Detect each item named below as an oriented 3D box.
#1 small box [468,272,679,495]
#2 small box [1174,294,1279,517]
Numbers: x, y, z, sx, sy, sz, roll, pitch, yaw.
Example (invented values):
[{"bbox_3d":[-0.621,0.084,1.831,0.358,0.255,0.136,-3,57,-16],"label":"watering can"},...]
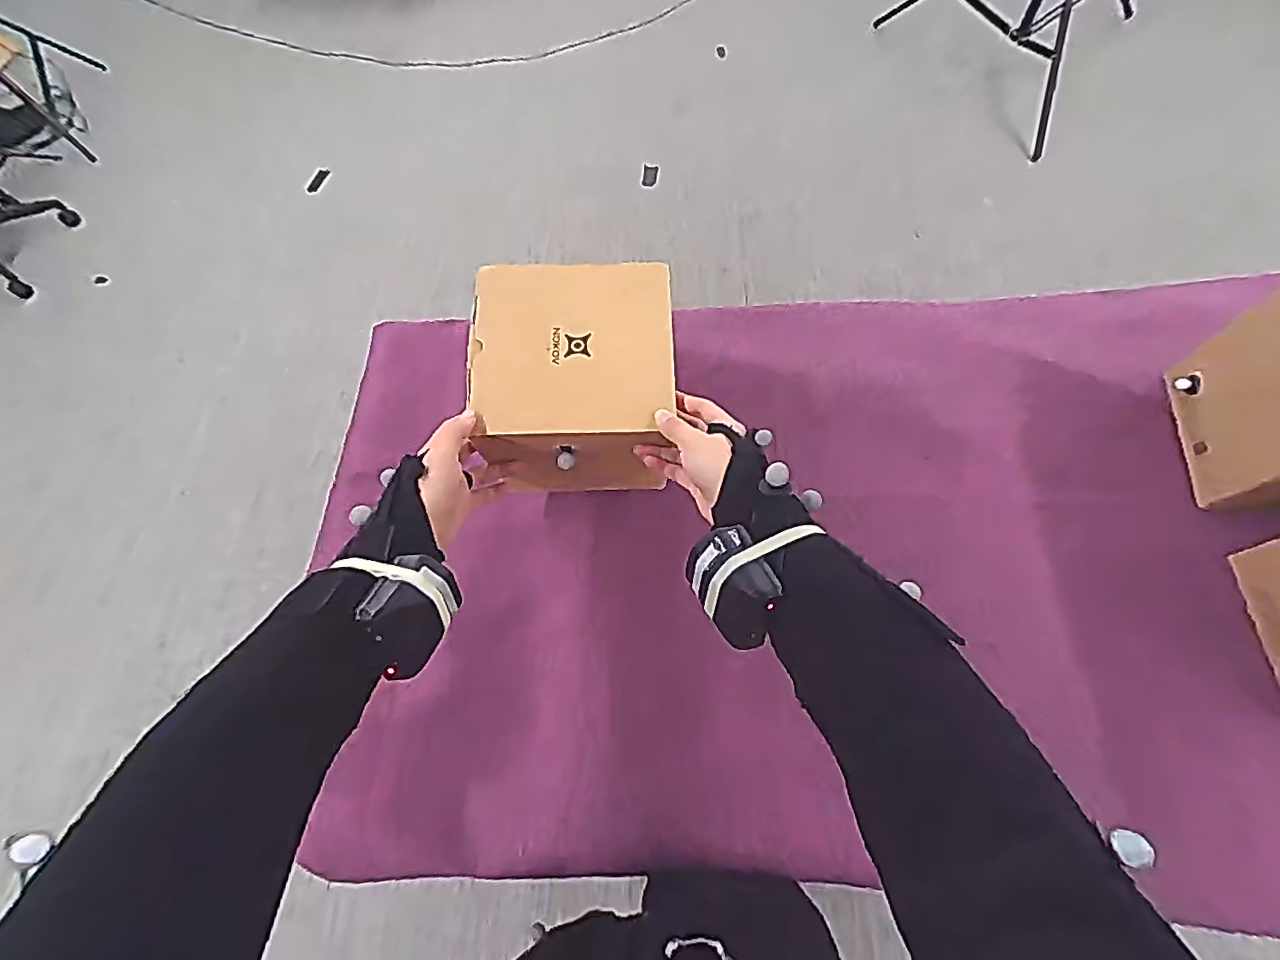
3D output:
[{"bbox_3d":[-0.057,-0.086,0.545,0.179,0.176,0.168,-1,72,0],"label":"small box"},{"bbox_3d":[0.661,-0.063,0.505,0.179,0.176,0.168,6,68,8],"label":"small box"}]
